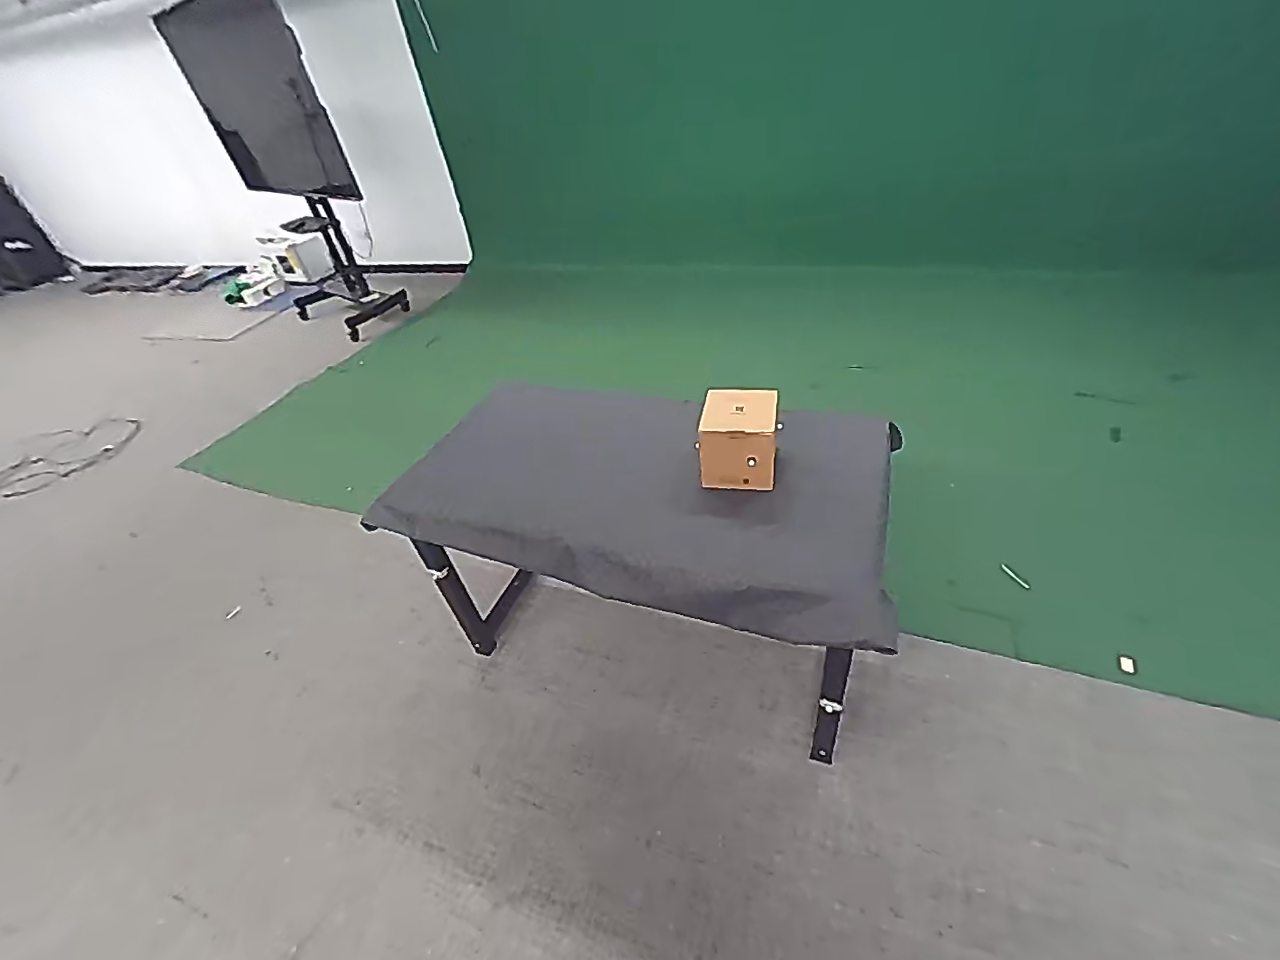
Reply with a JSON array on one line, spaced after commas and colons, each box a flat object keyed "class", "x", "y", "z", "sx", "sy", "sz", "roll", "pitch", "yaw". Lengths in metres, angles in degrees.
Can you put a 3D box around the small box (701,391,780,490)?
[{"class": "small box", "x": 0.240, "y": -0.093, "z": 1.282, "sx": 0.168, "sy": 0.176, "sz": 0.179, "roll": 4, "pitch": 40, "yaw": 13}]
